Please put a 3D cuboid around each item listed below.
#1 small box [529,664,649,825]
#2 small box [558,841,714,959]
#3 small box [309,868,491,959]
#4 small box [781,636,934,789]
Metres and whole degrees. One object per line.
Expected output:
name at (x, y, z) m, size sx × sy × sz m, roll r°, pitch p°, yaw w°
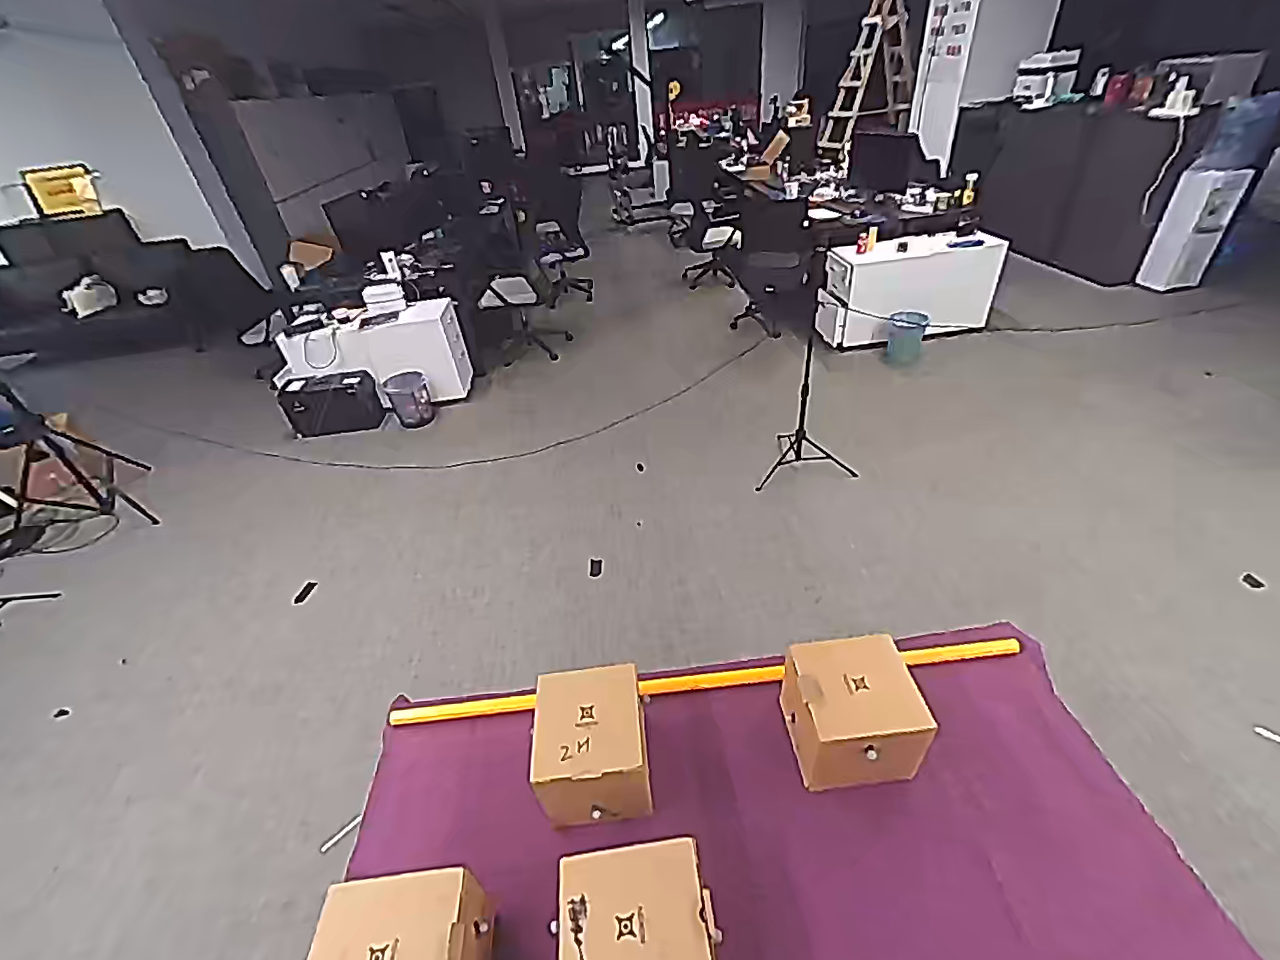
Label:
small box at (-0.077, 0.434, 0.890) m, size 0.168 × 0.176 × 0.179 m, roll -7°, pitch 38°, yaw 0°
small box at (-0.002, 0.585, 0.677) m, size 0.179 × 0.176 × 0.168 m, roll -7°, pitch 36°, yaw -1°
small box at (-0.296, 0.618, 0.676) m, size 0.179 × 0.176 × 0.168 m, roll -6°, pitch 36°, yaw -2°
small box at (0.343, 0.384, 0.892) m, size 0.179 × 0.176 × 0.168 m, roll -7°, pitch 38°, yaw 0°
